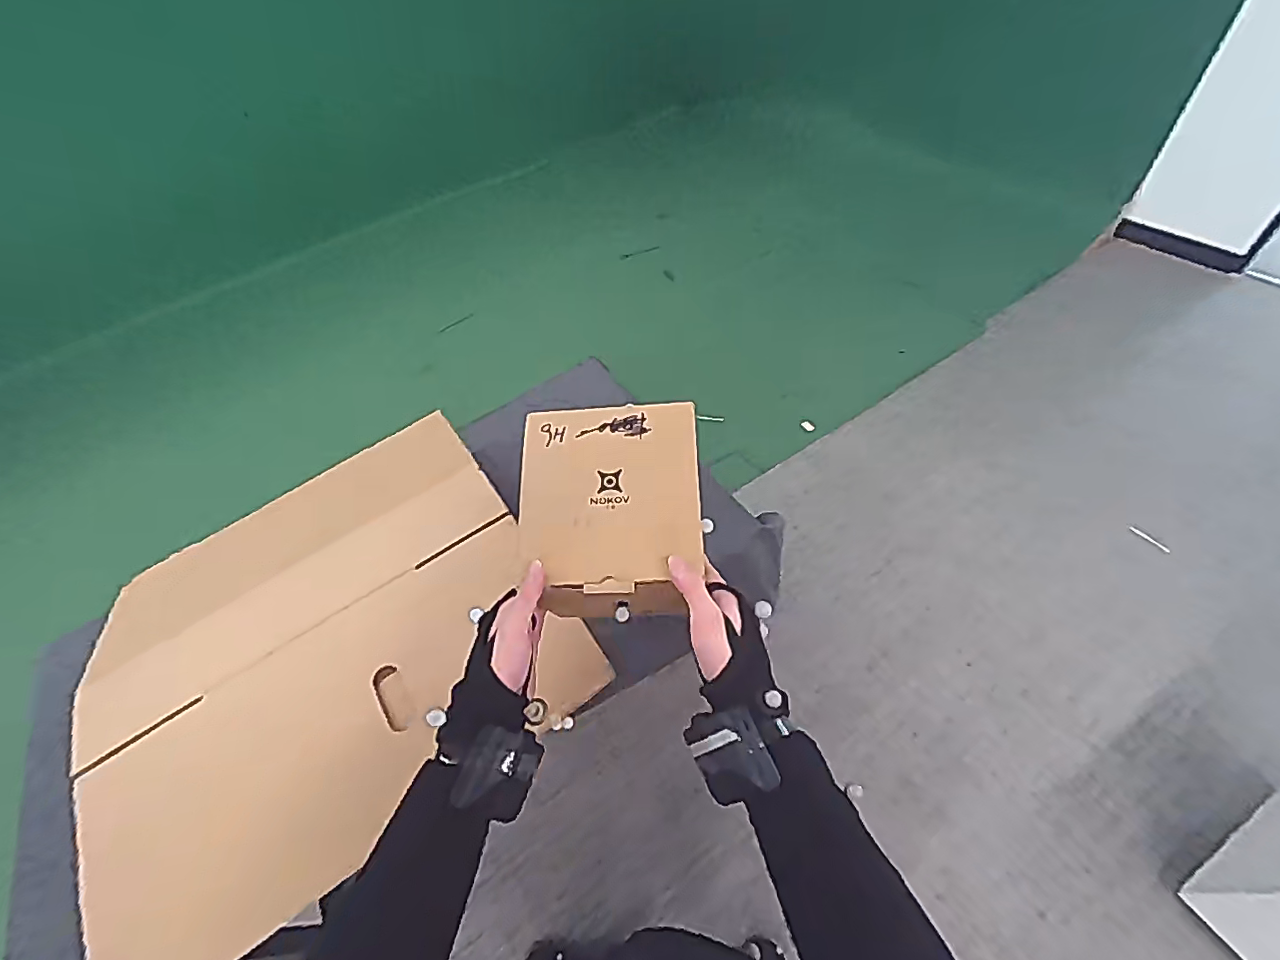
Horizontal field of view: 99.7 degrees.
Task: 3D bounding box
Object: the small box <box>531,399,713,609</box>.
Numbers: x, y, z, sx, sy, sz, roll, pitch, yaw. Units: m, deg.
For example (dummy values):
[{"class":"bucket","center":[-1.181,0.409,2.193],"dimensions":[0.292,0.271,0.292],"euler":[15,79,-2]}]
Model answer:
[{"class":"small box","center":[-0.011,0.038,0.576],"dimensions":[0.168,0.176,0.179],"euler":[-5,67,4]}]
